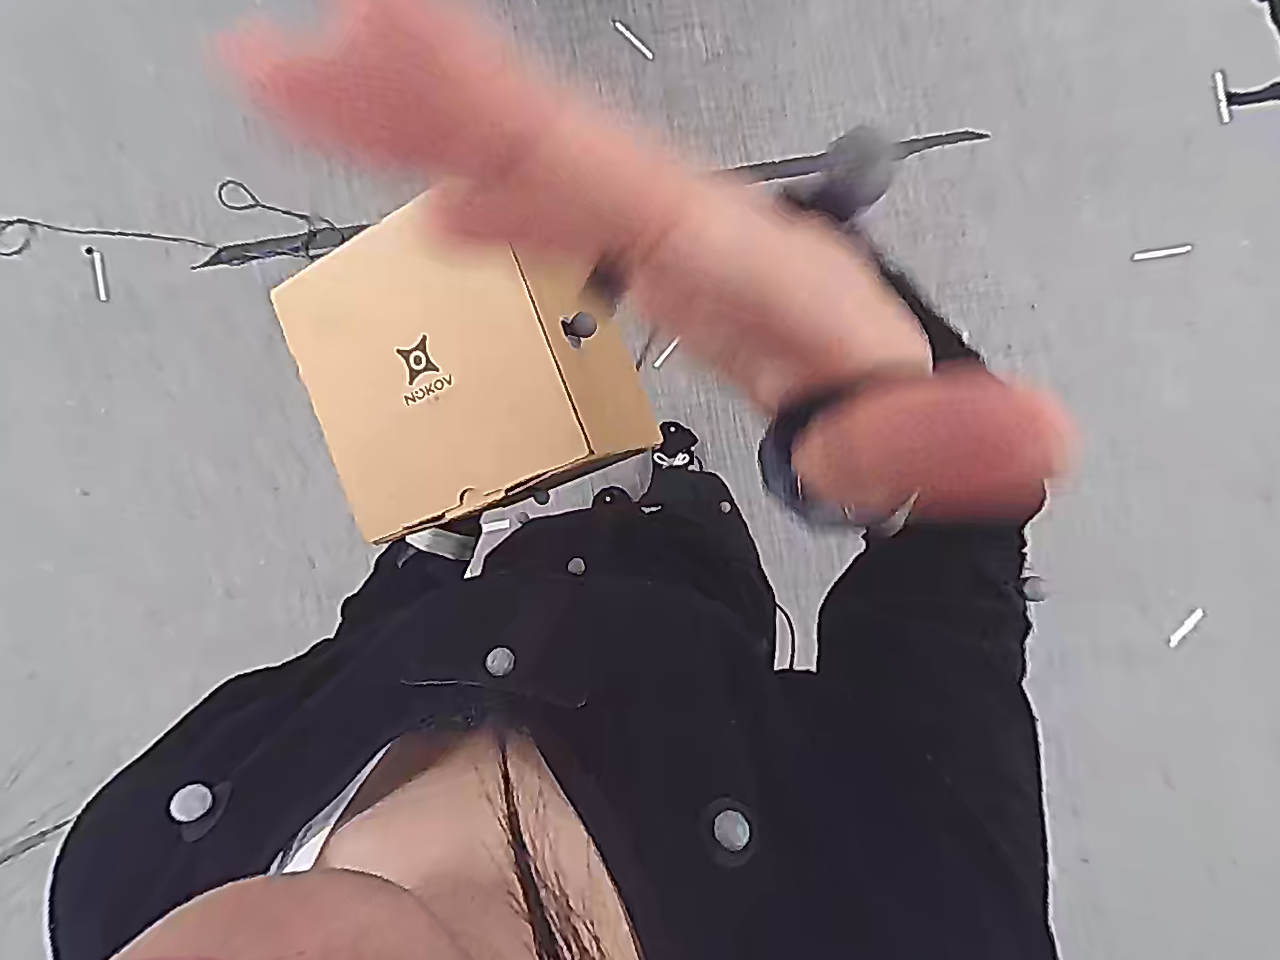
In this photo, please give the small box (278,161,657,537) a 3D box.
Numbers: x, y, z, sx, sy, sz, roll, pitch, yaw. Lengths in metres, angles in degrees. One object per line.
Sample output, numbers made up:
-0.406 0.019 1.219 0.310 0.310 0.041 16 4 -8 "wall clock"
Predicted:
-0.104 -0.078 0.396 0.168 0.176 0.179 -21 91 17 "small box"
